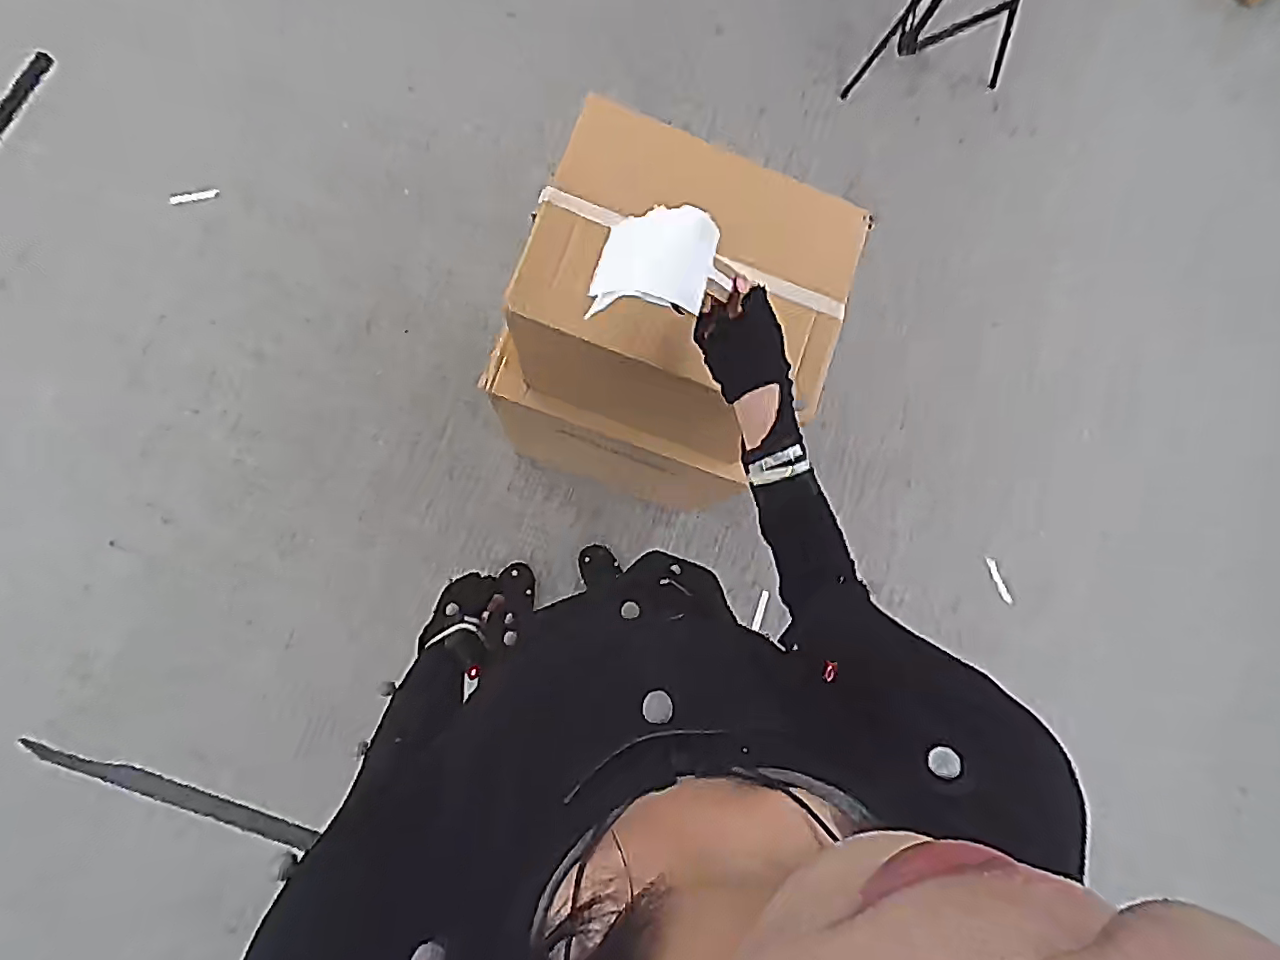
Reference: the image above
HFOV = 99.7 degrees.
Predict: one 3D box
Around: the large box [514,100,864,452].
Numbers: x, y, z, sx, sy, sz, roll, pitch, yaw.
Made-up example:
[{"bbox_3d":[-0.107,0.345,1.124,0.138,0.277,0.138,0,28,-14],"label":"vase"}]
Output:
[{"bbox_3d":[0.054,-0.273,0.842,0.408,0.320,0.320,20,81,-5],"label":"large box"}]
